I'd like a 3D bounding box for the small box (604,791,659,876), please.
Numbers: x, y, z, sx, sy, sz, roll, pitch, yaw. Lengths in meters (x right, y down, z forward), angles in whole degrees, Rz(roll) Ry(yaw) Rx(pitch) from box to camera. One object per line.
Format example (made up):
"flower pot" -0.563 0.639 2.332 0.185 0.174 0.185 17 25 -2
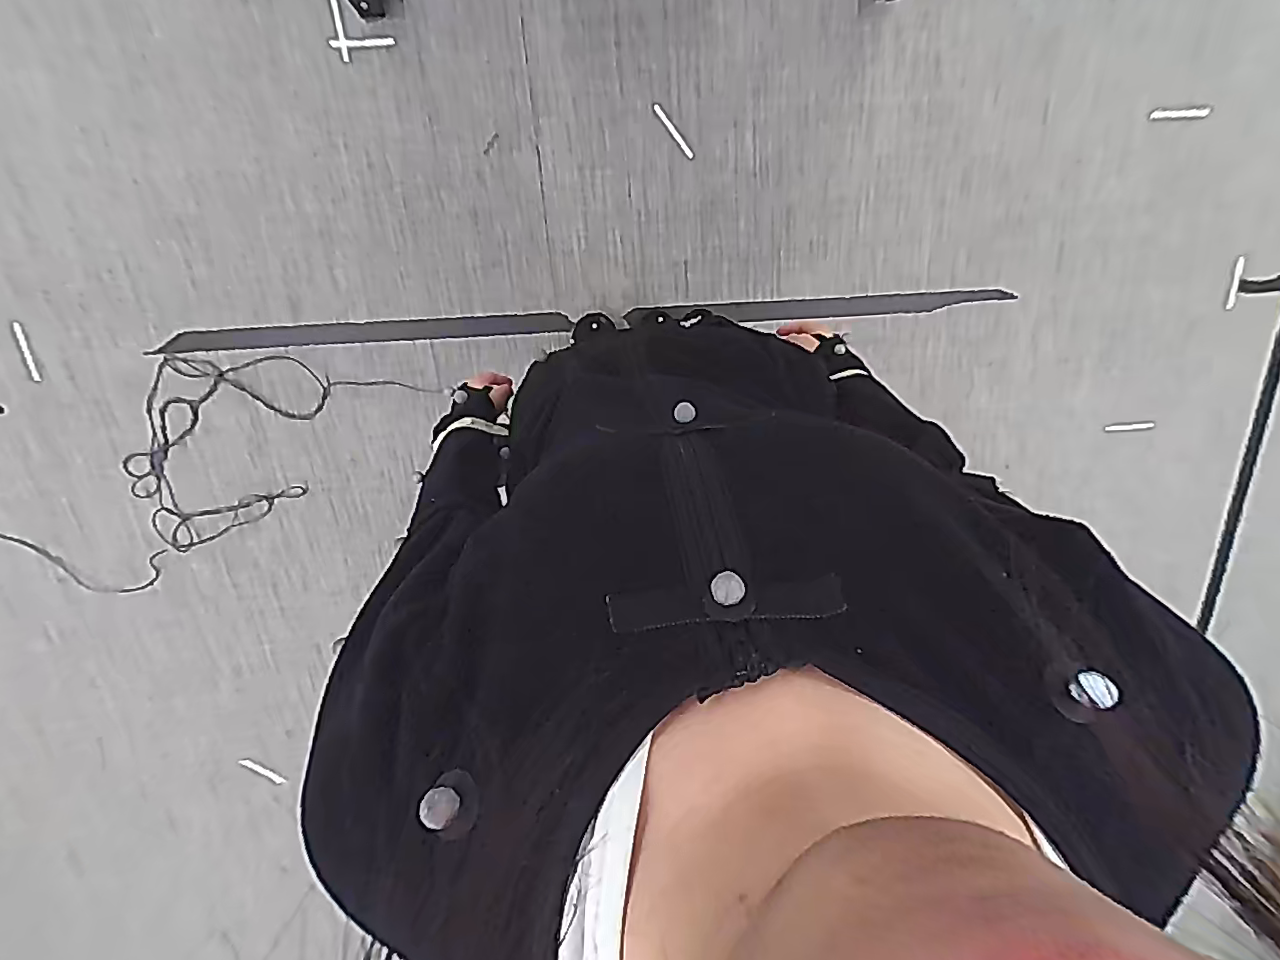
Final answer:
"small box" -0.028 1.179 1.808 0.179 0.176 0.168 -5 108 -4

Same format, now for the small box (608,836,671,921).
"small box" -0.005 1.224 1.652 0.179 0.176 0.168 -3 107 -5
